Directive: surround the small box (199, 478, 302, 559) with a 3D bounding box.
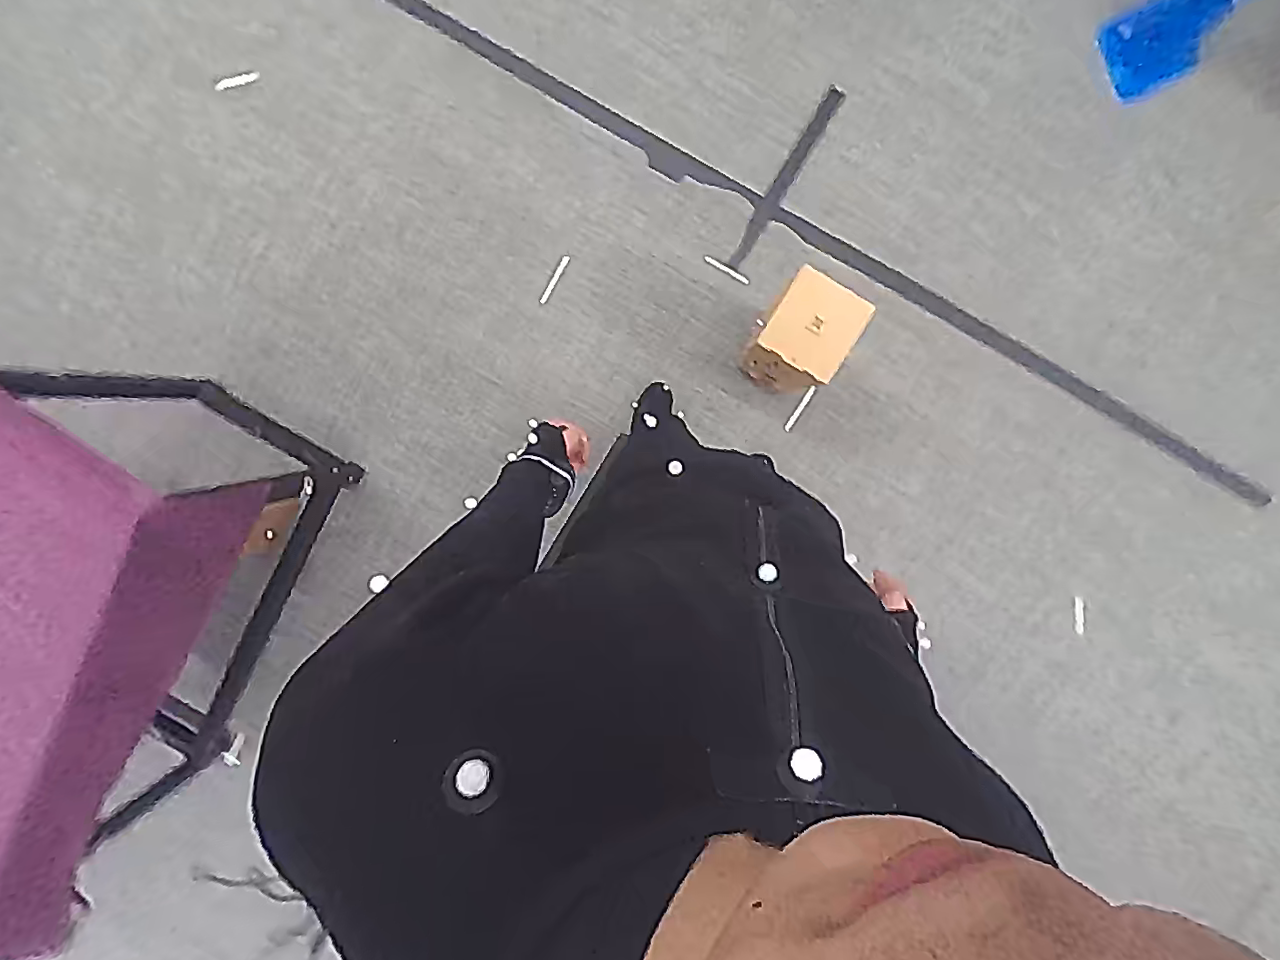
[{"bbox_3d":[-1.202,0.112,1.683,0.168,0.176,0.179,32,100,1],"label":"small box"}]

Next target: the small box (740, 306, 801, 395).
[{"bbox_3d":[0.383,-0.346,1.466,0.168,0.176,0.179,28,101,1],"label":"small box"}]

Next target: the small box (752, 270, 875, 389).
[{"bbox_3d":[0.352,-0.308,1.141,0.168,0.176,0.179,31,100,-1],"label":"small box"}]
